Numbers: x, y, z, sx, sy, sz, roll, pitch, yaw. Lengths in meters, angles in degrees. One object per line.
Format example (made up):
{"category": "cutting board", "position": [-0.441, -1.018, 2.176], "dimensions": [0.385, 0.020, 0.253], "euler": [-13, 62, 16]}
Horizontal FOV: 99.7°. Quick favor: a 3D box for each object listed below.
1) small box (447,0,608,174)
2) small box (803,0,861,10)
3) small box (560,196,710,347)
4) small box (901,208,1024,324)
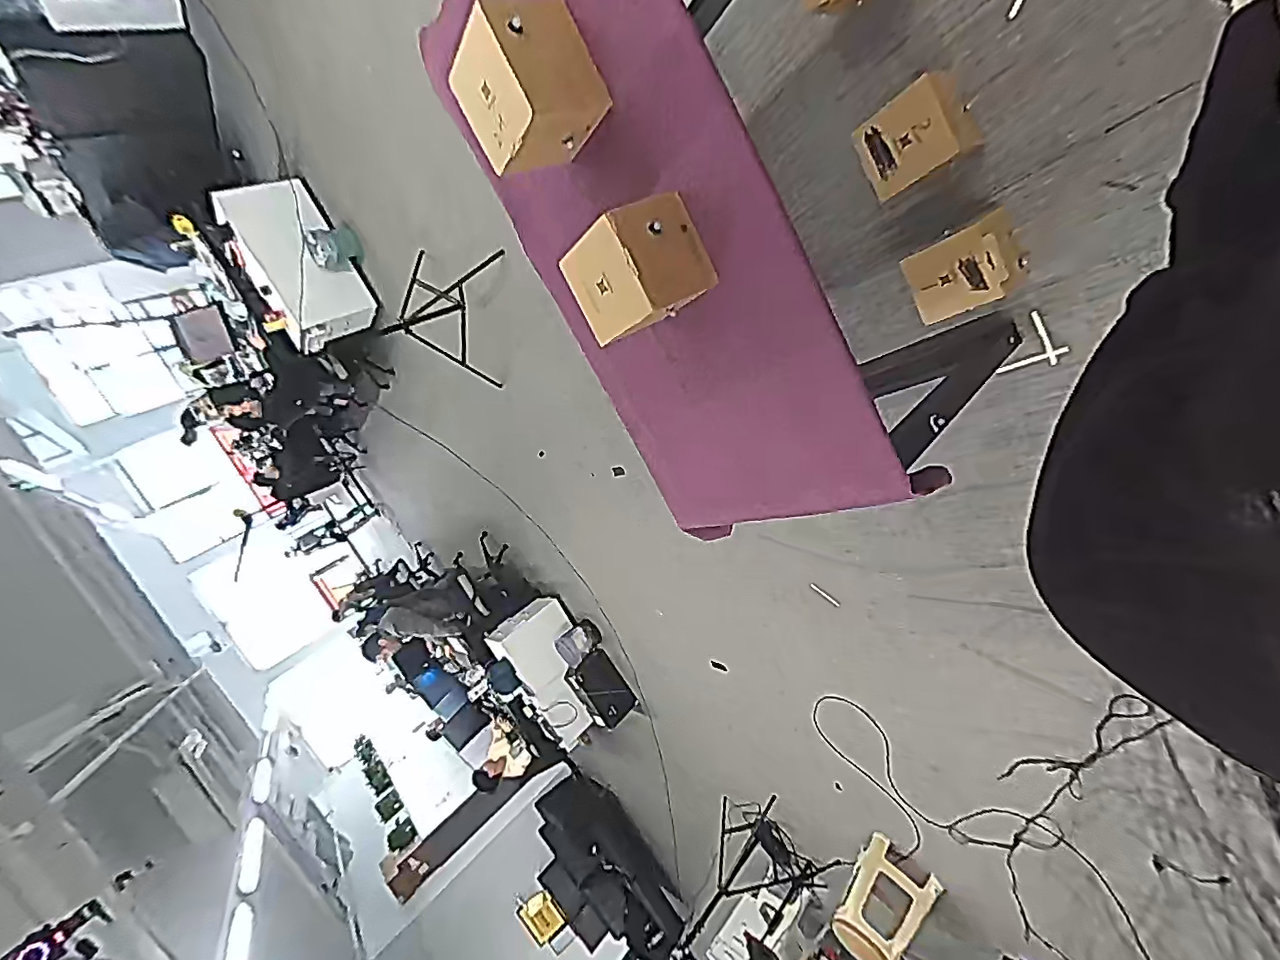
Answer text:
{"category": "small box", "position": [-0.186, -0.655, 0.906], "dimensions": [0.168, 0.176, 0.179], "euler": [-13, 109, 56]}
{"category": "small box", "position": [0.429, -1.089, 1.086], "dimensions": [0.168, 0.176, 0.179], "euler": [8, 126, 48]}
{"category": "small box", "position": [-0.002, -0.360, 0.938], "dimensions": [0.179, 0.176, 0.168], "euler": [-13, 107, 58]}
{"category": "small box", "position": [0.738, -0.487, 1.229], "dimensions": [0.179, 0.176, 0.168], "euler": [-14, 108, 56]}
